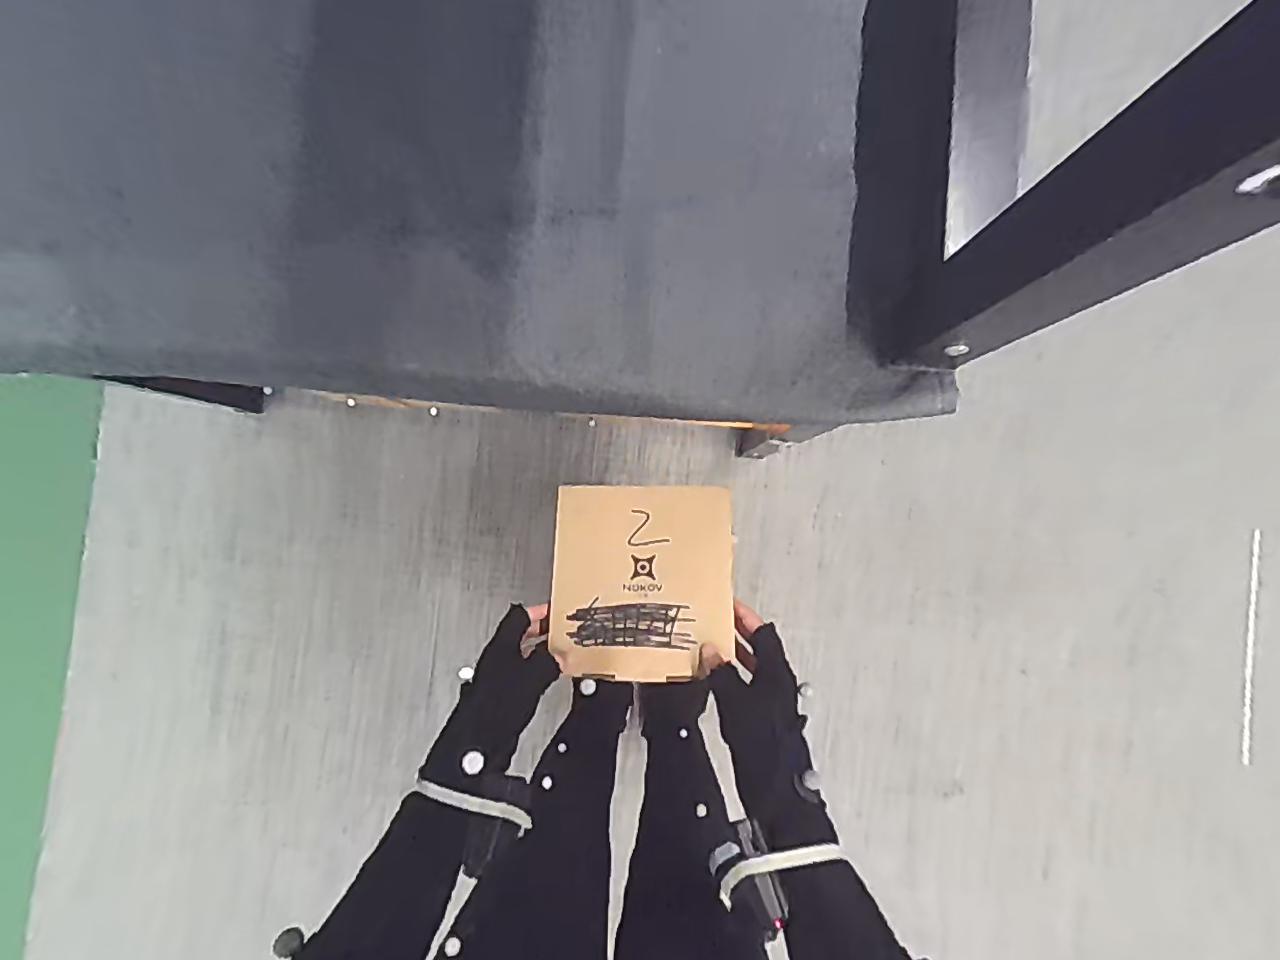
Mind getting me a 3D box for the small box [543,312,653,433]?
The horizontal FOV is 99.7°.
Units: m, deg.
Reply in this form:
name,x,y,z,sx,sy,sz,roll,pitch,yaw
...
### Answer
name,x,y,z,sx,sy,sz,roll,pitch,yaw
small box,-0.070,-0.192,1.009,0.168,0.176,0.179,10,90,4
